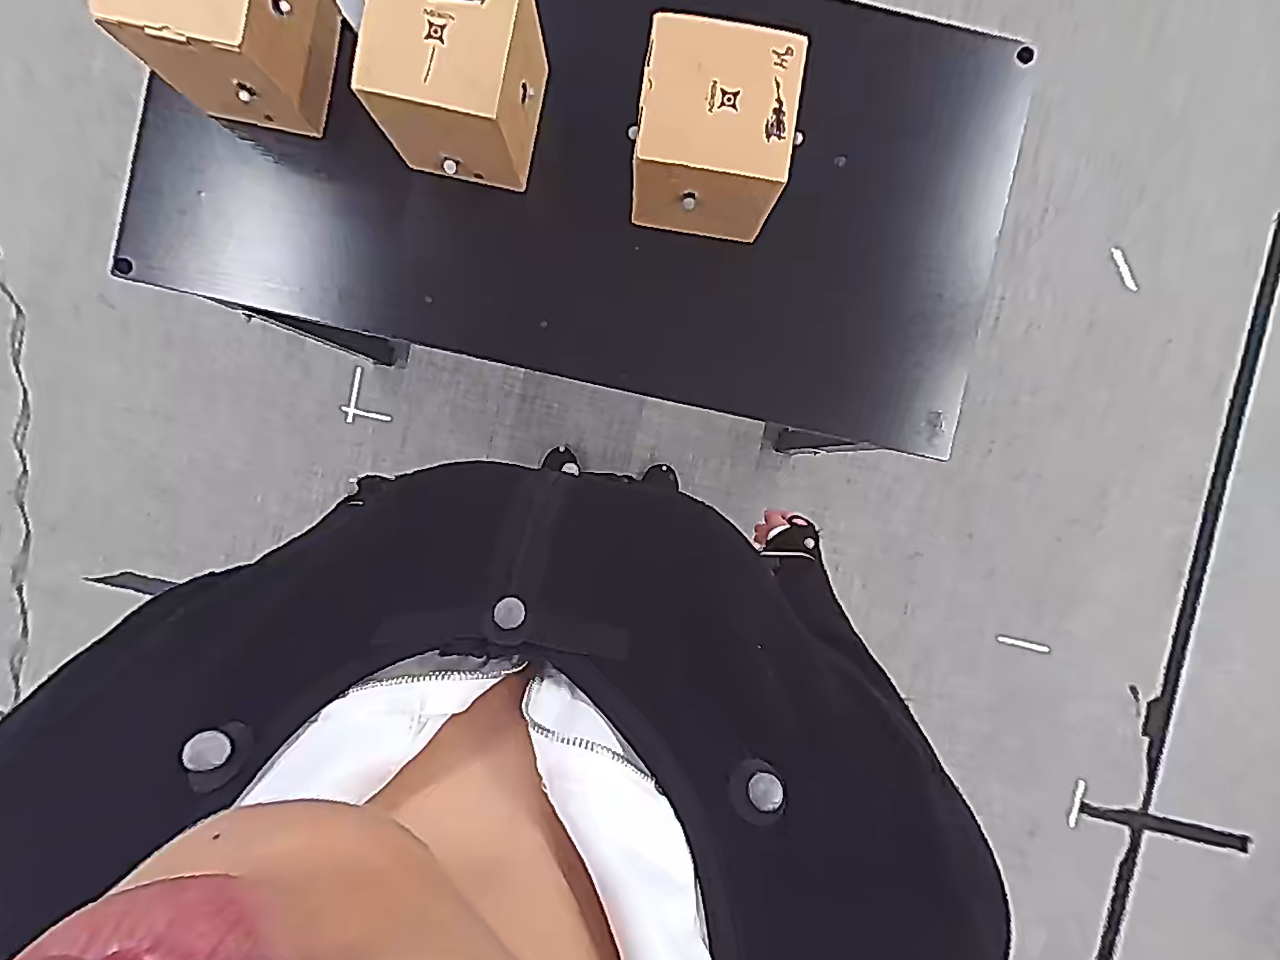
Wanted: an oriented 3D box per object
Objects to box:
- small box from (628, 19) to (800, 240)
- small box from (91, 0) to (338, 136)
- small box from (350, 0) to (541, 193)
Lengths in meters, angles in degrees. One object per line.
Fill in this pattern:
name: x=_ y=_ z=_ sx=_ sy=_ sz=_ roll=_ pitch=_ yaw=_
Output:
small box: x=0.083 y=-0.427 z=0.689 sx=0.179 sy=0.176 sz=0.168 roll=8 pitch=91 yaw=-1
small box: x=-0.505 y=-0.570 z=0.669 sx=0.168 sy=0.176 sz=0.179 roll=10 pitch=91 yaw=-3
small box: x=-0.227 y=-0.501 z=0.678 sx=0.168 sy=0.176 sz=0.179 roll=11 pitch=92 yaw=-2
